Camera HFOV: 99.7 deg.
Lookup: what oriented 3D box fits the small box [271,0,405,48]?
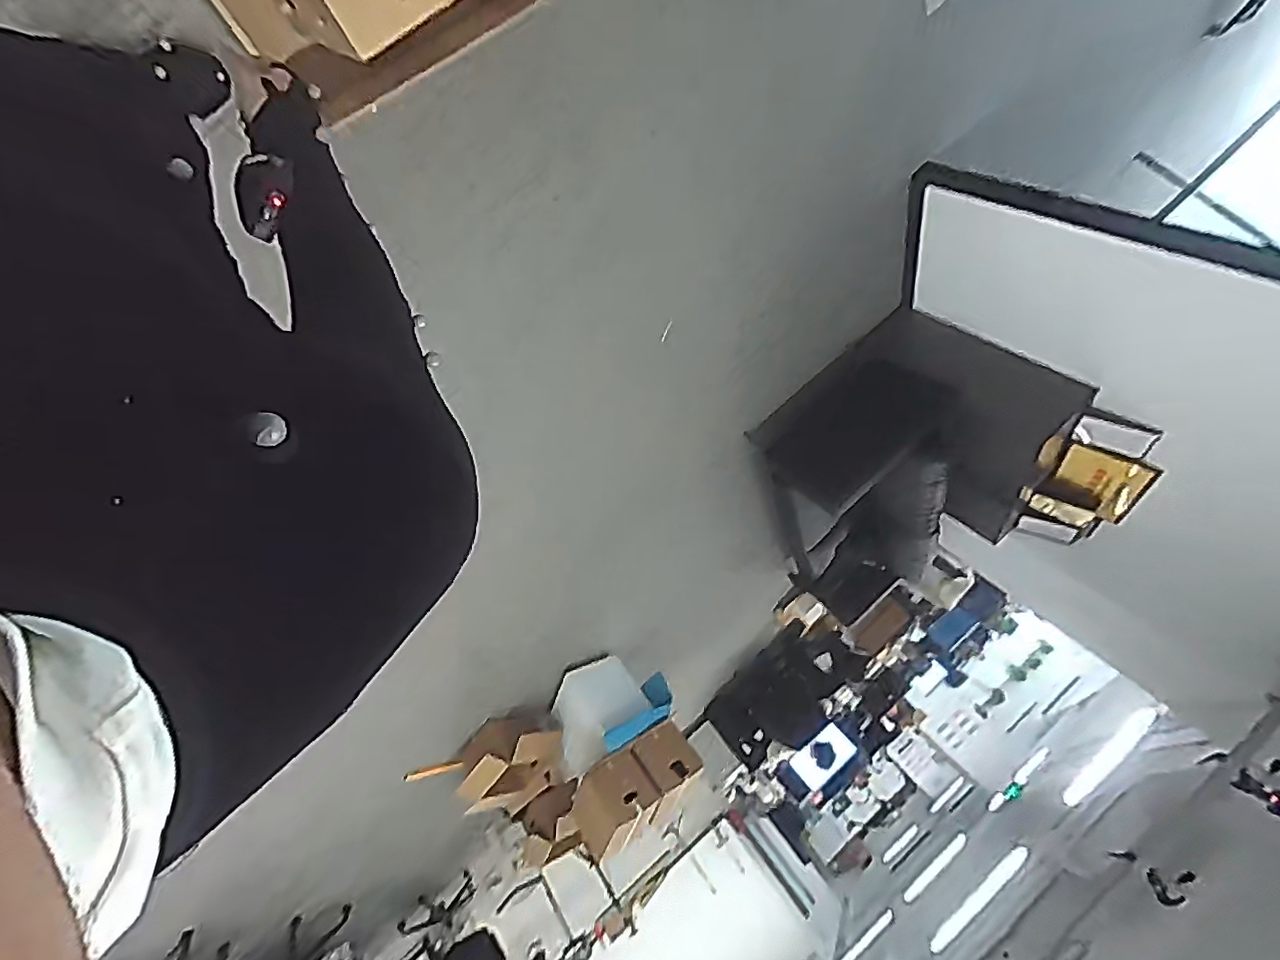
[{"bbox_3d":[-0.443,-0.731,0.726,0.168,0.176,0.179,-41,145,-9],"label":"small box"}]
